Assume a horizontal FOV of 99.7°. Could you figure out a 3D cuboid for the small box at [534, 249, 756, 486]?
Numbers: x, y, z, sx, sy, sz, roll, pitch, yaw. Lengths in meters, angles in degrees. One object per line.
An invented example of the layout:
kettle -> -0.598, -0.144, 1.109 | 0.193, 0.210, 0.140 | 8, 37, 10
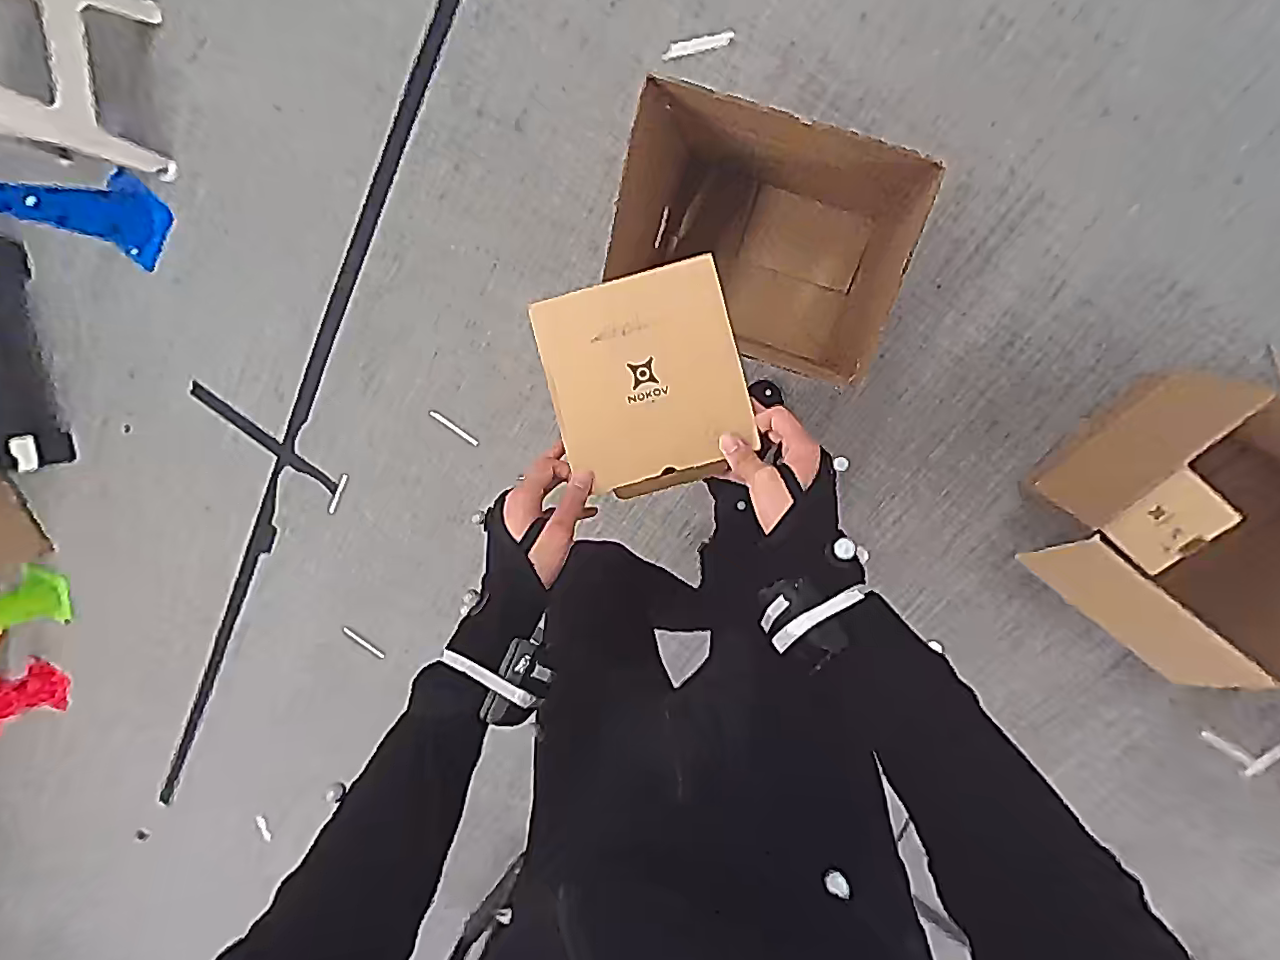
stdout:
small box -> 0.009, -0.106, 0.549 | 0.168, 0.176, 0.179 | -14, 96, 3
